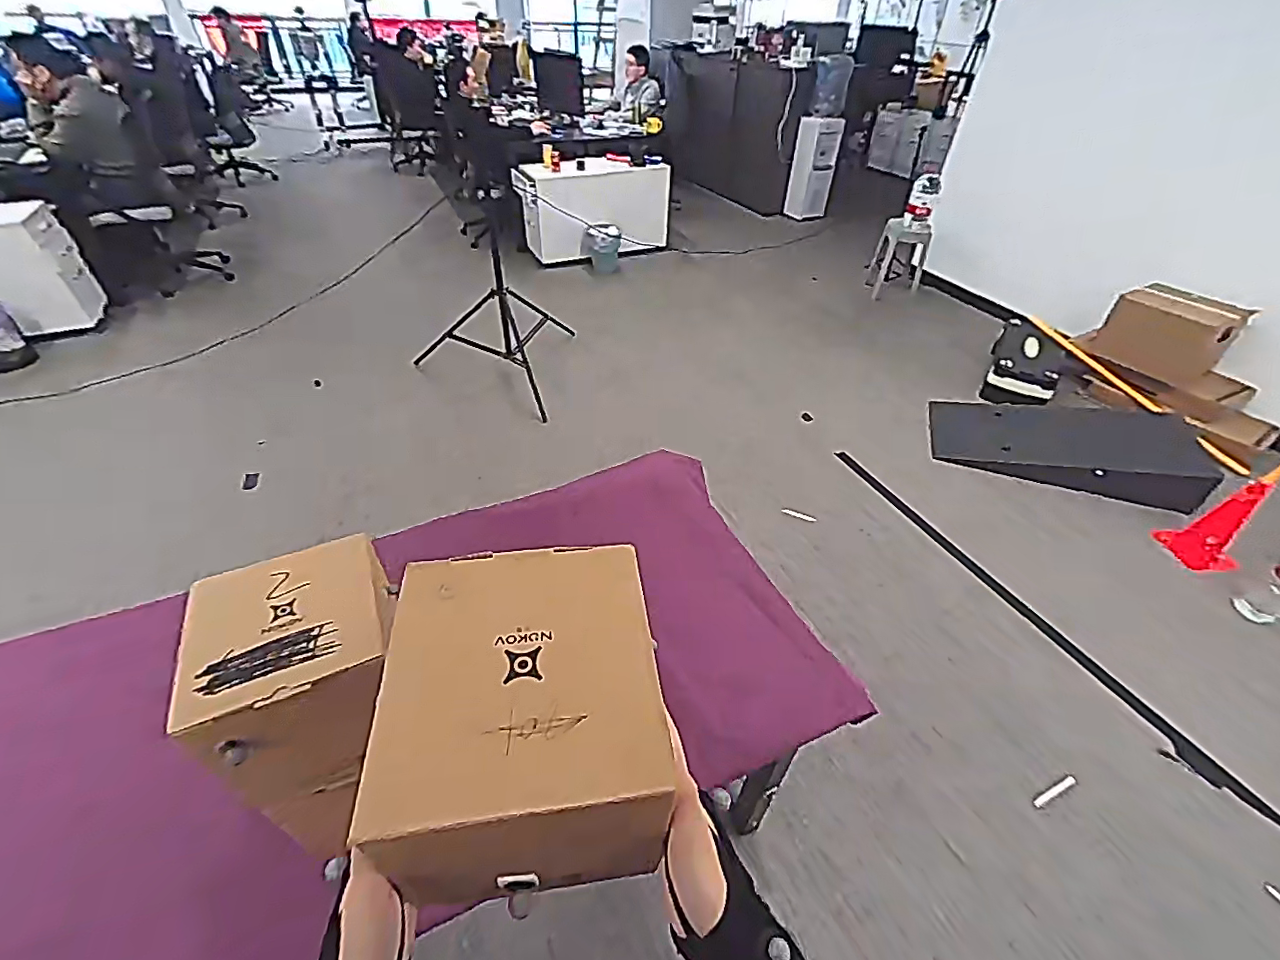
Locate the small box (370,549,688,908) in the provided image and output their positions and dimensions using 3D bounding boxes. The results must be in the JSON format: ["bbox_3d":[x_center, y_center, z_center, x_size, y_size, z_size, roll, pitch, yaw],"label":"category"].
[{"bbox_3d":[-0.071,0.174,0.392,0.168,0.176,0.179,-4,43,-8],"label":"small box"}]

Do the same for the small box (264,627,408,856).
[{"bbox_3d":[-0.335,0.322,0.676,0.168,0.176,0.179,-15,44,-18],"label":"small box"}]
